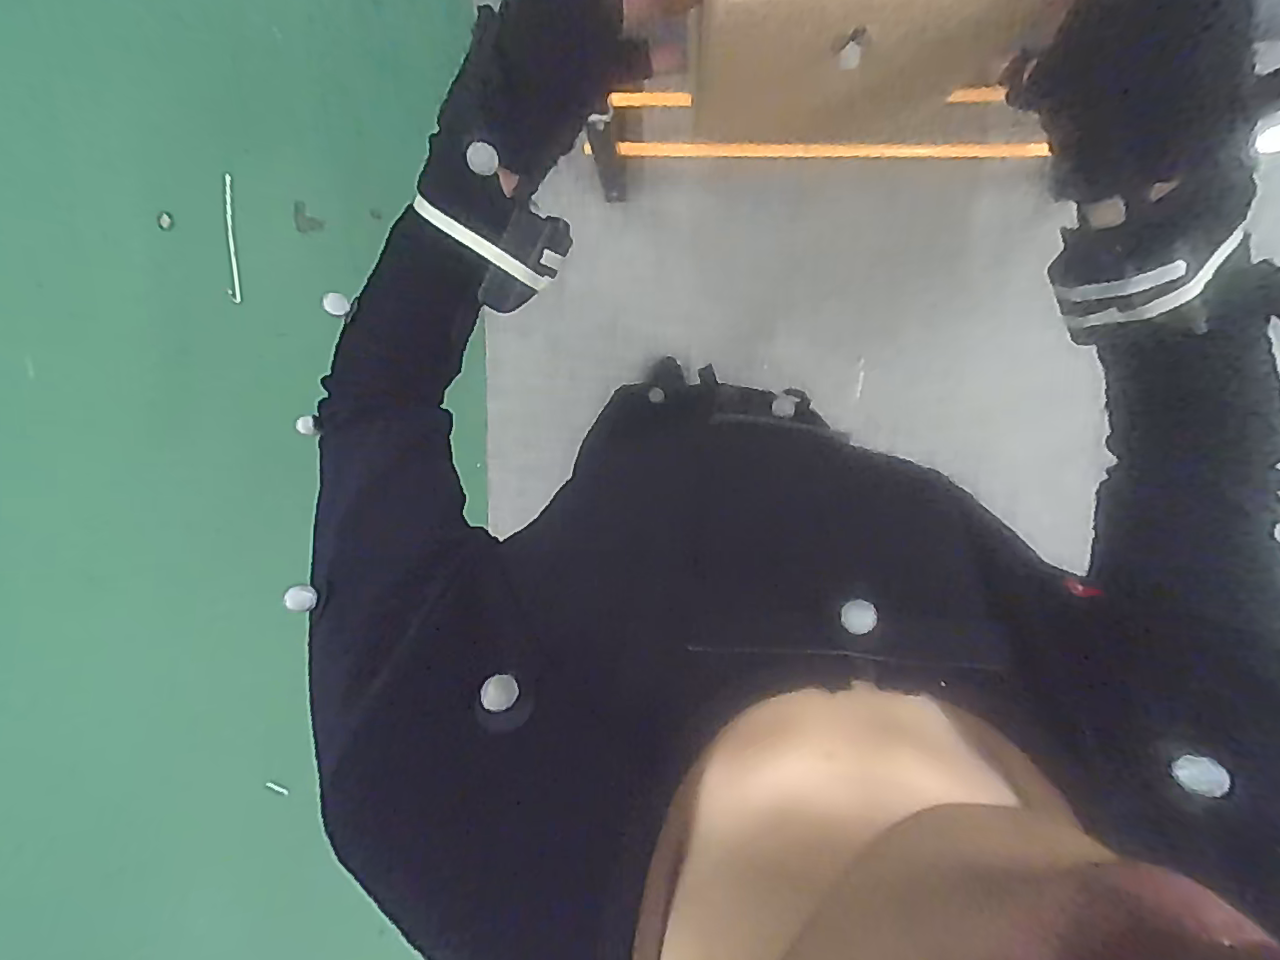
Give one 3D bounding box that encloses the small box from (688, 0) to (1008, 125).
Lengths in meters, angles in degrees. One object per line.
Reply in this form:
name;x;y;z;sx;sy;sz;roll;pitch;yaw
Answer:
small box;0.118;-0.339;0.324;0.179;0.176;0.168;-3;103;1
